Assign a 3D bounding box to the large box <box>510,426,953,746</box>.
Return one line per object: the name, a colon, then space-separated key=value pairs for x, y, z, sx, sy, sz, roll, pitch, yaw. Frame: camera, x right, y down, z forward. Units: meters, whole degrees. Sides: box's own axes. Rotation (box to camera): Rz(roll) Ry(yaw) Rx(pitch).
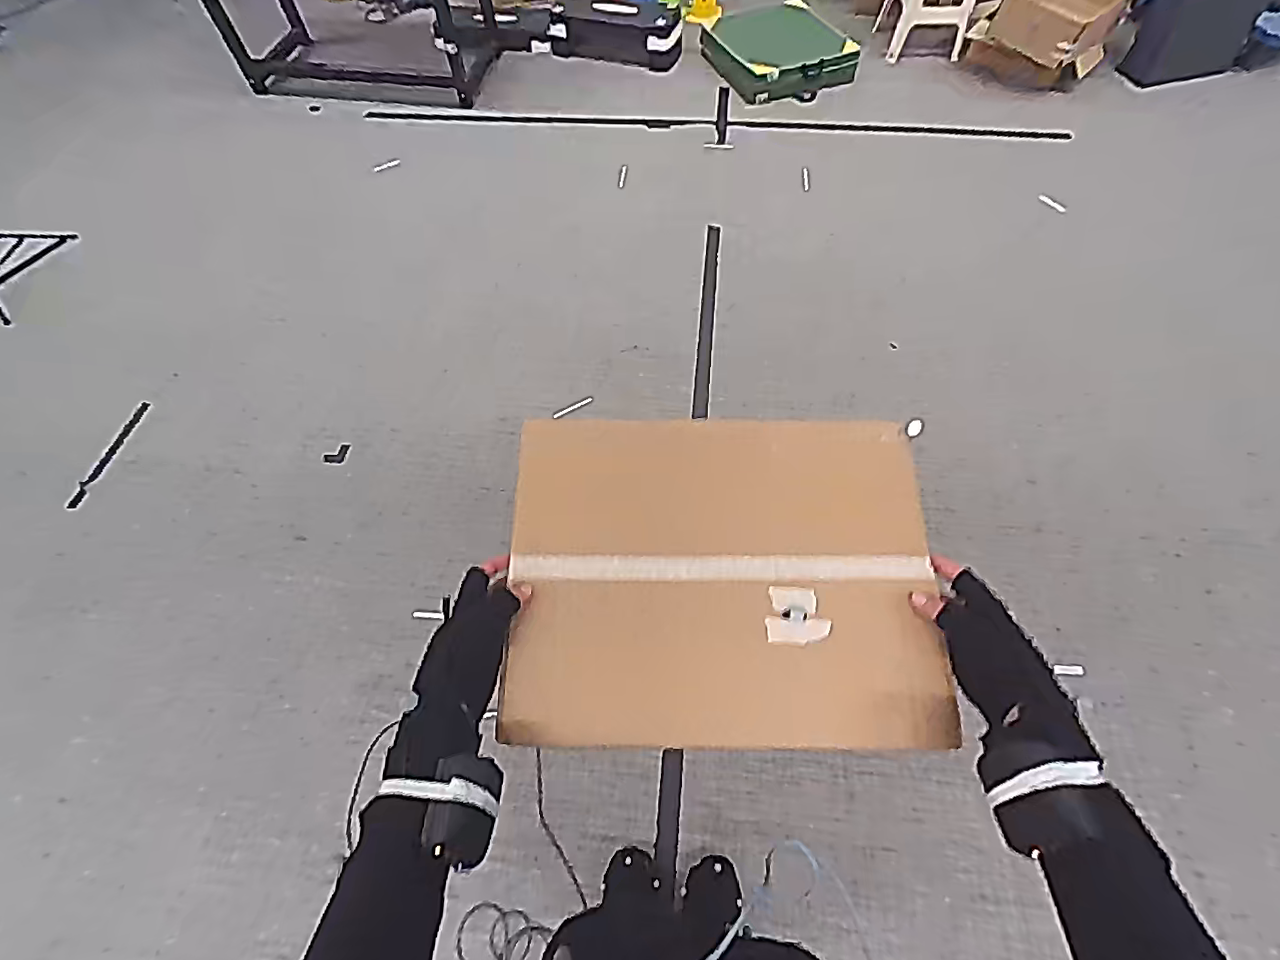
large box: x=0.079 y=0.138 z=0.667 sx=0.408 sy=0.320 sz=0.320 roll=0 pitch=71 yaw=0
